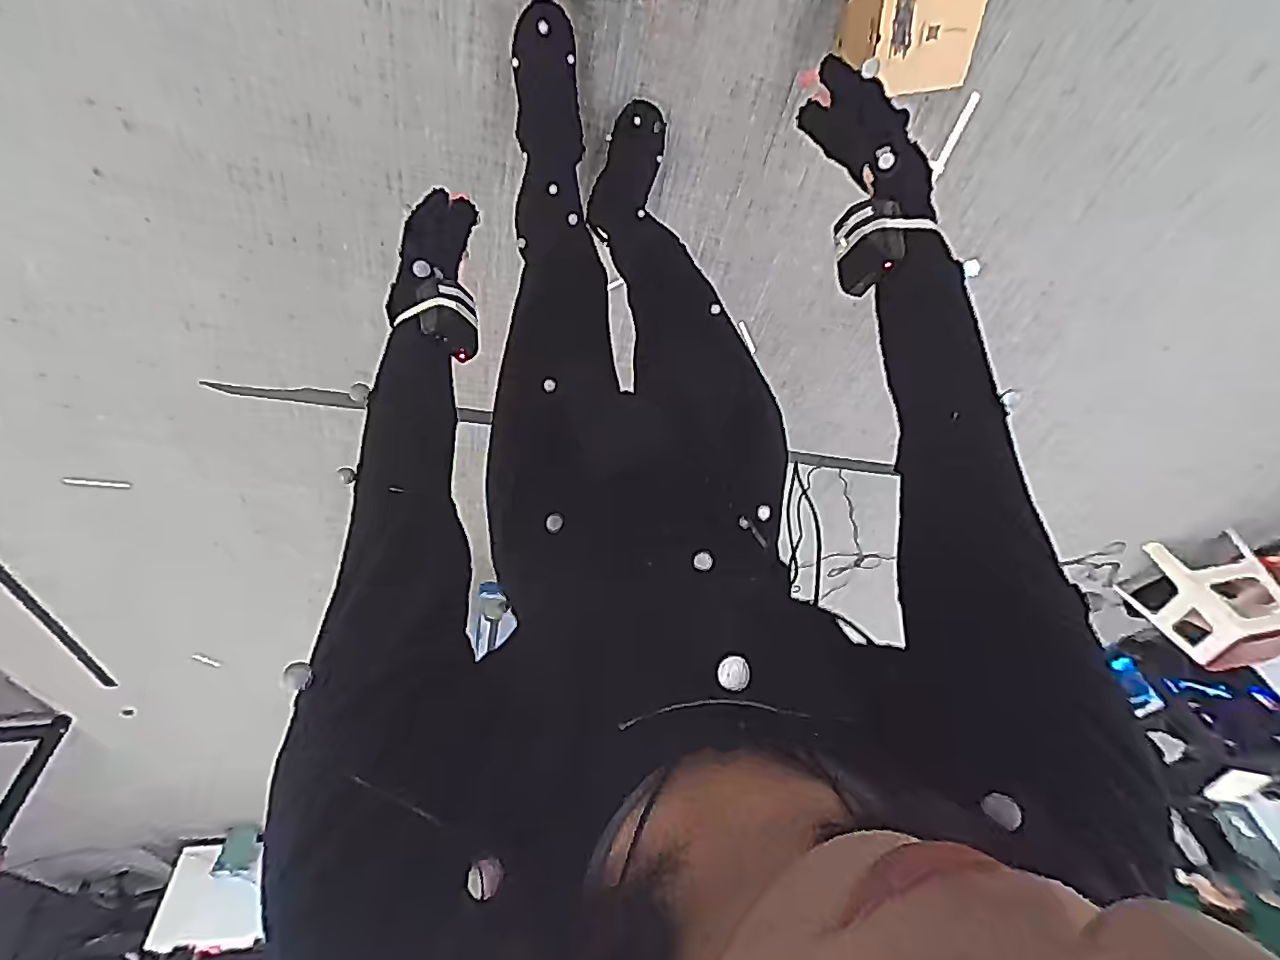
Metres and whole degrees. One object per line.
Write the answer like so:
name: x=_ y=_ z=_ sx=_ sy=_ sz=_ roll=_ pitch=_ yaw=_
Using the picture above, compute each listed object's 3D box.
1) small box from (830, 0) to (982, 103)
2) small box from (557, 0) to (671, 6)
small box: x=0.453 y=-0.778 z=0.943 sx=0.179 sy=0.176 sz=0.168 roll=-8 pitch=136 yaw=-2
small box: x=-0.045 y=-0.830 z=0.810 sx=0.179 sy=0.176 sz=0.168 roll=-3 pitch=135 yaw=-5
